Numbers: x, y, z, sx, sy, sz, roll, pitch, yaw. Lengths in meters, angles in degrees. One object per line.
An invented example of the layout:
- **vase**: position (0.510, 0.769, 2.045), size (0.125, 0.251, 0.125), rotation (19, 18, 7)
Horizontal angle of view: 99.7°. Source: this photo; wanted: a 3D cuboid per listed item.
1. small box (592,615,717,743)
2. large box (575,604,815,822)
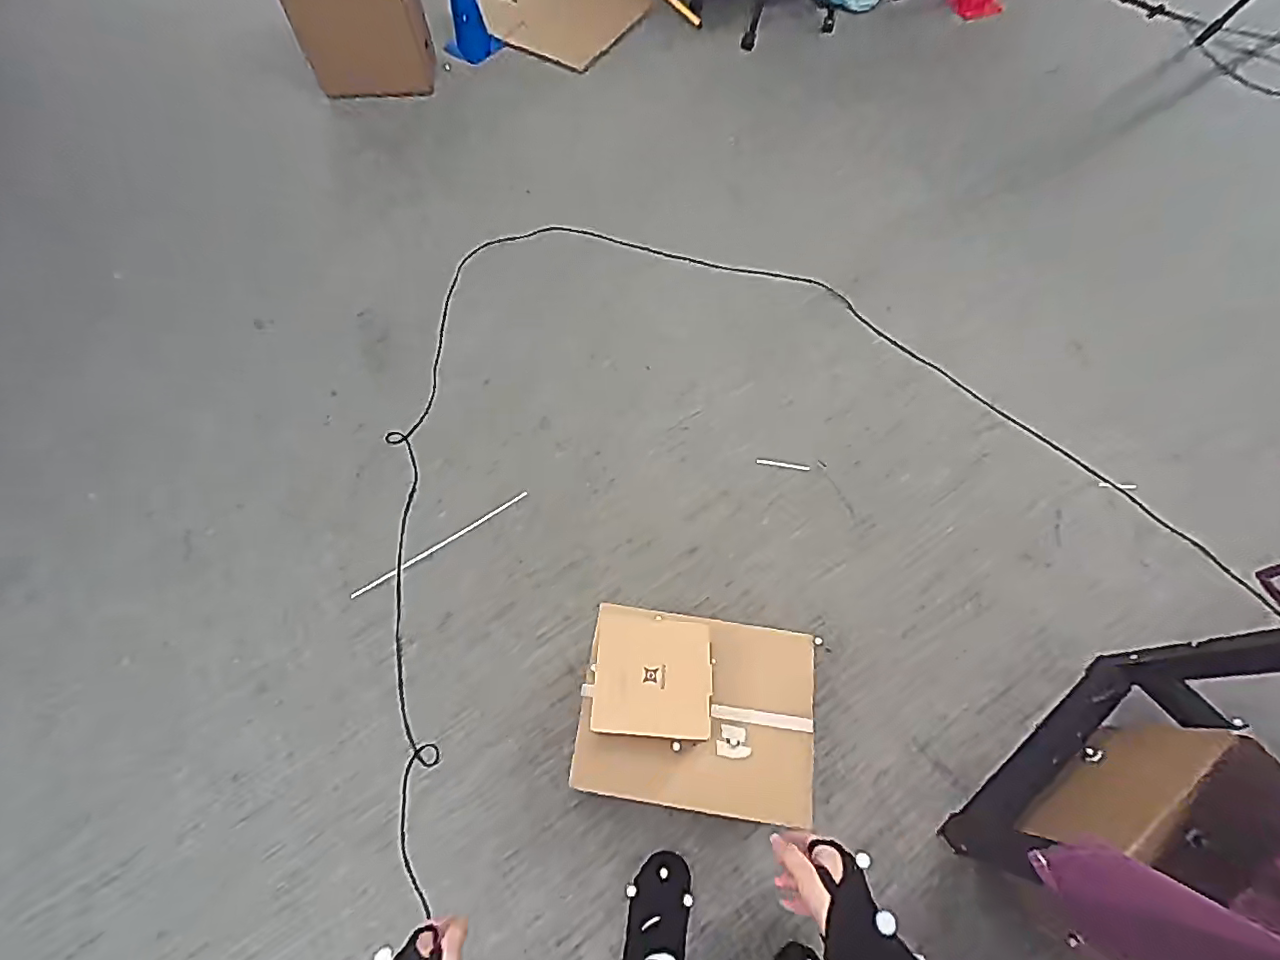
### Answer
- **small box**: position (0.024, 0.323, 0.870), size (0.179, 0.176, 0.168), rotation (4, 64, 2)
- **large box**: position (0.104, 0.455, 1.081), size (0.408, 0.320, 0.320), rotation (8, 67, 3)
